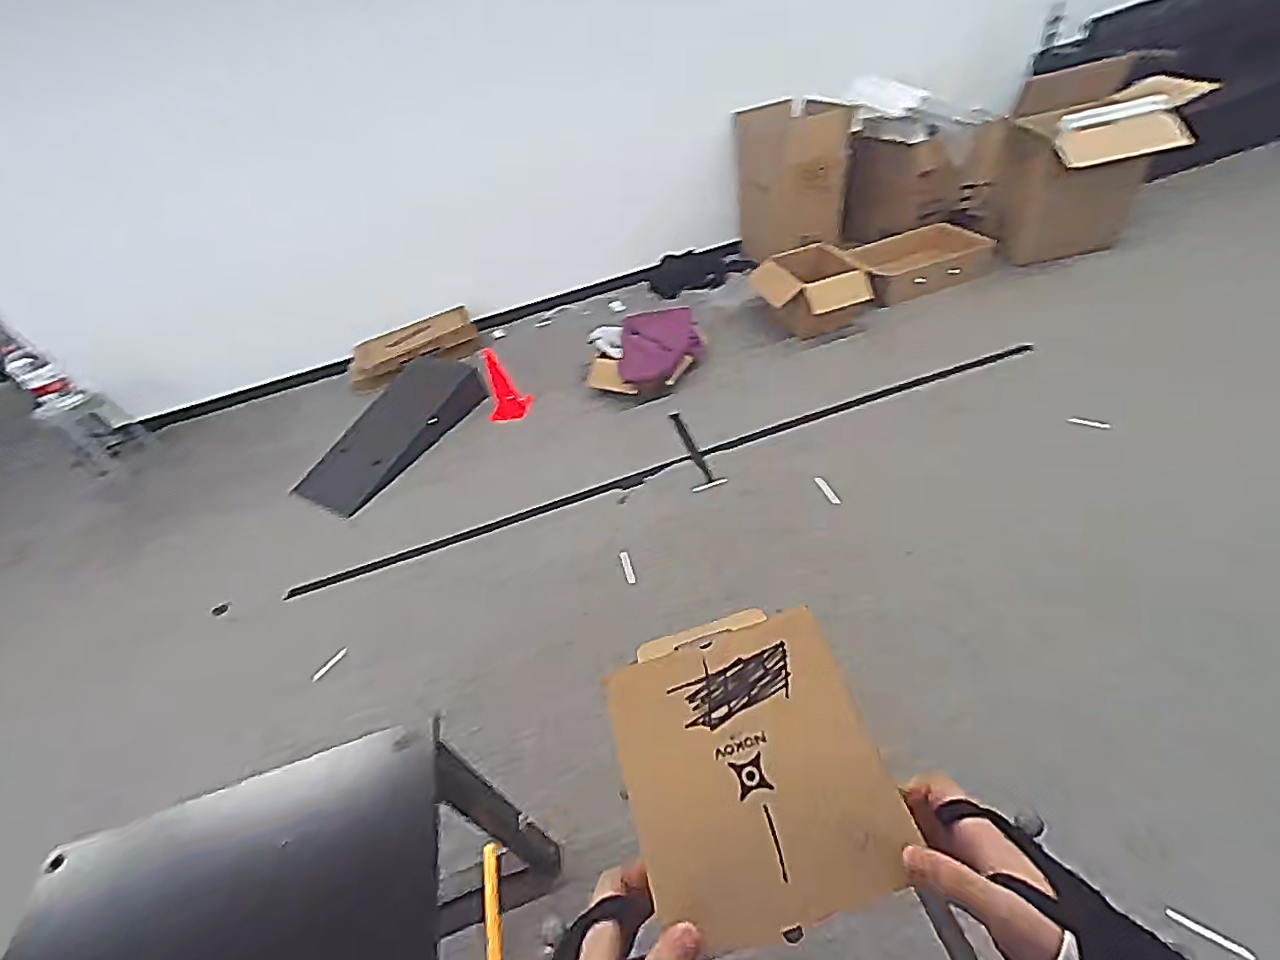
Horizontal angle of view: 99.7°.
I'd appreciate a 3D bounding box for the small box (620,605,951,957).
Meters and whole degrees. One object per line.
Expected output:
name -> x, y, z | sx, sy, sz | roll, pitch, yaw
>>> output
small box -> 0.093, 0.227, 0.420 | 0.168, 0.176, 0.179 | -17, 55, -1
